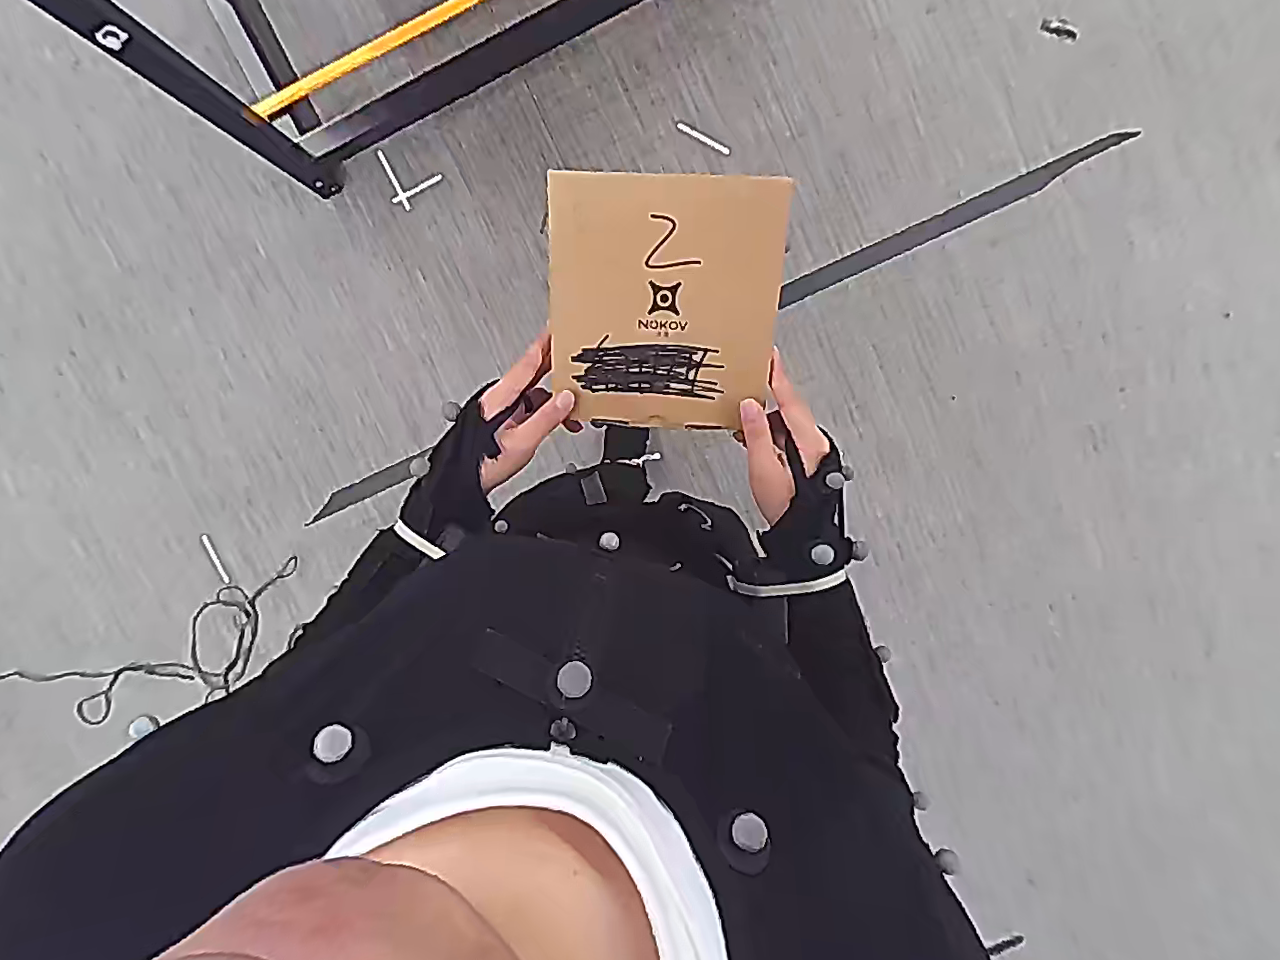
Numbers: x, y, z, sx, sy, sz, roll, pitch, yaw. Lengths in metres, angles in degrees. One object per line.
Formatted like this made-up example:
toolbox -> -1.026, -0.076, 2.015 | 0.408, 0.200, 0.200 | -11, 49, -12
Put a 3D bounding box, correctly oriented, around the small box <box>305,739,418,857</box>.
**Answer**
small box -> -0.701, 0.807, 1.391 | 0.179, 0.176, 0.168 | -26, 94, 4
